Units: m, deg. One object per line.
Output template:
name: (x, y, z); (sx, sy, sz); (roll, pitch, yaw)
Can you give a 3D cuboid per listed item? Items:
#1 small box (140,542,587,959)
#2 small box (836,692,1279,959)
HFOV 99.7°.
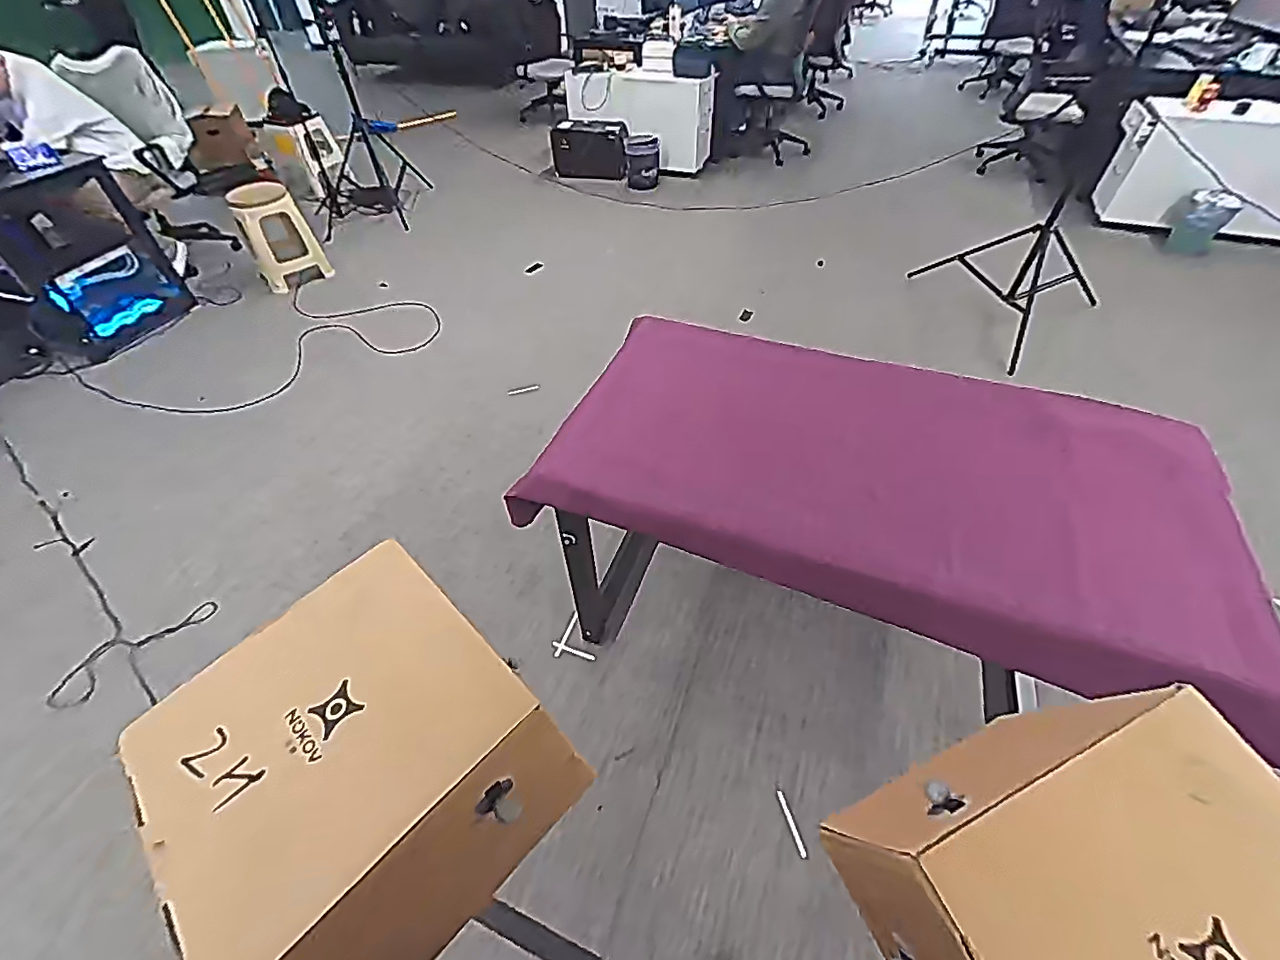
small box: (-0.151, 0.181, 0.352); (0.168, 0.176, 0.179); (33, 62, 32)
small box: (0.243, 0.241, 0.299); (0.179, 0.176, 0.168); (-24, 63, -10)
